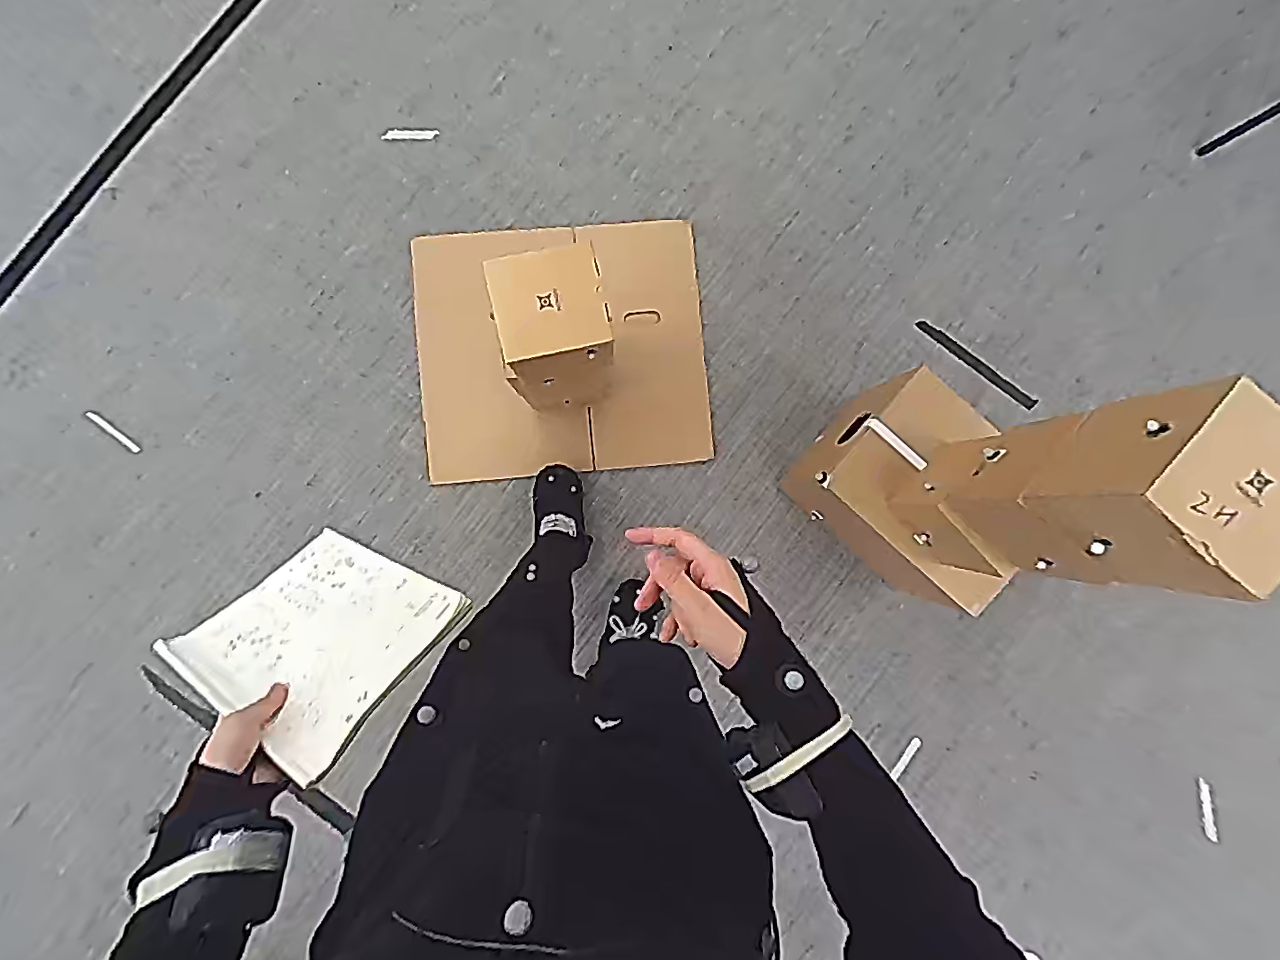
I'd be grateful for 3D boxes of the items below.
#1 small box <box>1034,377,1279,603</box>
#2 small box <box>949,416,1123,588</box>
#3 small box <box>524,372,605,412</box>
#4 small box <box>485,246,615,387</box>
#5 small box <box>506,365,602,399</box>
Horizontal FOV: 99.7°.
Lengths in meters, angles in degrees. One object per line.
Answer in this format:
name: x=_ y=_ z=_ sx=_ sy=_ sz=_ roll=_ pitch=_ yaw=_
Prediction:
small box: x=0.624 y=0.012 z=0.633 sx=0.168 sy=0.176 sz=0.179 roll=43 pitch=86 yaw=1
small box: x=0.612 y=0.031 z=0.796 sx=0.179 sy=0.176 sz=0.168 roll=40 pitch=86 yaw=1
small box: x=-0.179 y=-0.256 z=1.244 sx=0.179 sy=0.176 sz=0.168 roll=-8 pitch=88 yaw=-4
small box: x=-0.144 y=-0.266 z=0.919 sx=0.179 sy=0.176 sz=0.168 roll=-14 pitch=89 yaw=-5
small box: x=-0.171 y=-0.262 z=1.080 sx=0.179 sy=0.176 sz=0.168 roll=-7 pitch=89 yaw=-4
